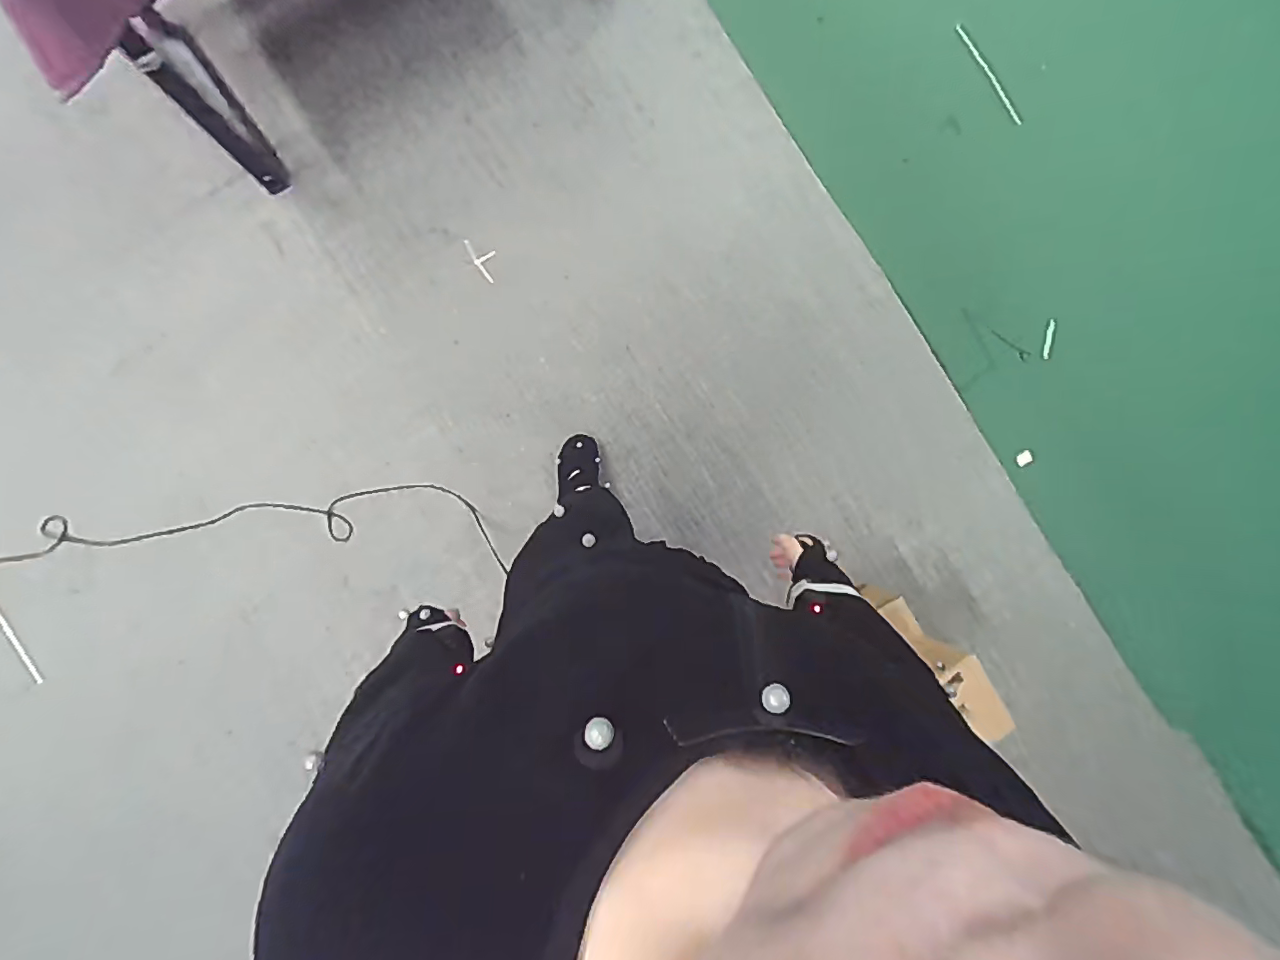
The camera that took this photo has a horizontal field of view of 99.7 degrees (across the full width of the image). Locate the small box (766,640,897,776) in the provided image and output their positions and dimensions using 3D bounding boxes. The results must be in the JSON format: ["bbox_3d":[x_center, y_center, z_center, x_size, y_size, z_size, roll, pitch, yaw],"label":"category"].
[{"bbox_3d":[0.383,0.464,1.126,0.179,0.176,0.168,-32,91,-5],"label":"small box"}]
